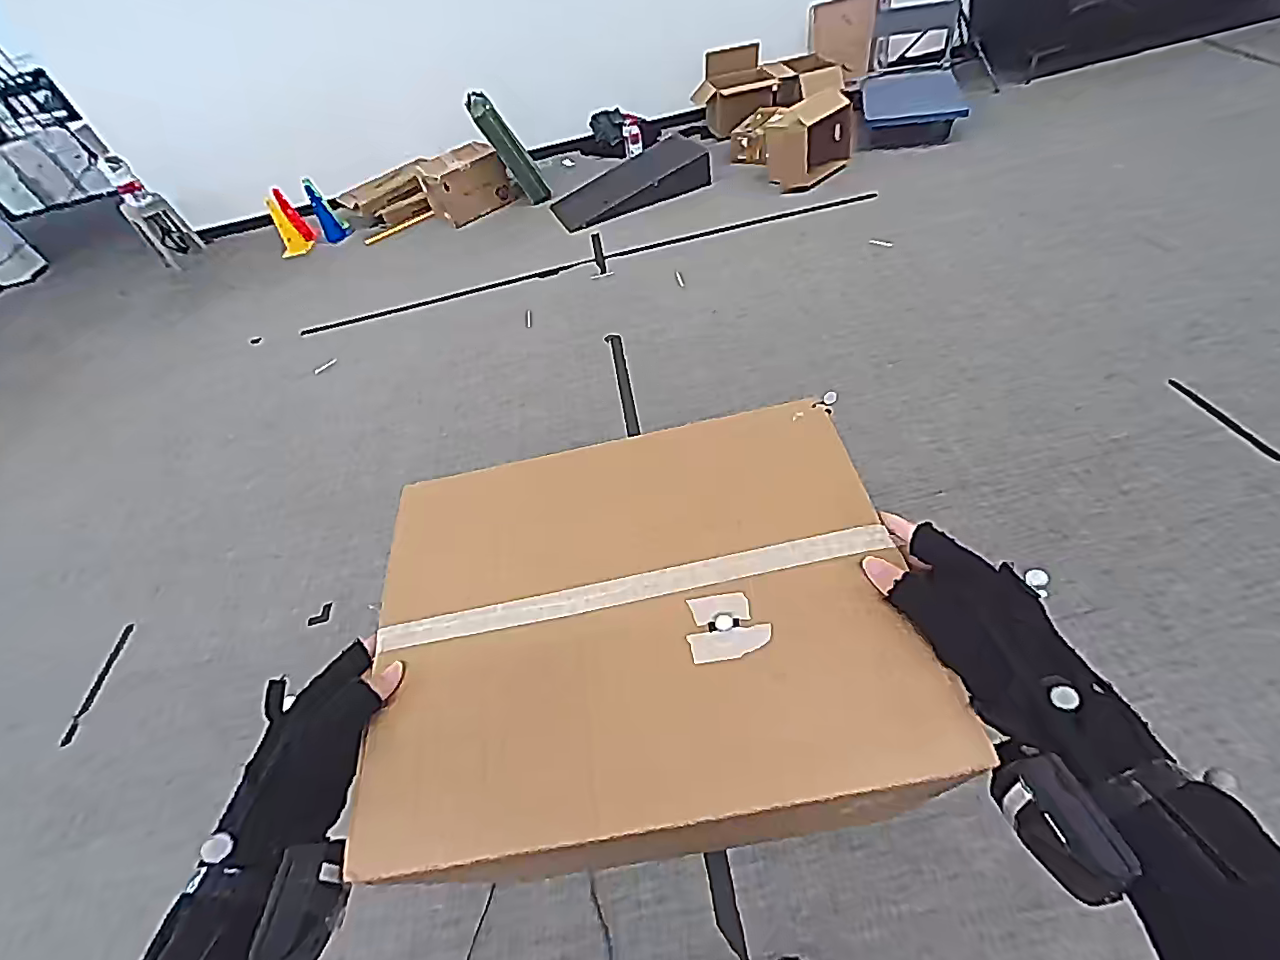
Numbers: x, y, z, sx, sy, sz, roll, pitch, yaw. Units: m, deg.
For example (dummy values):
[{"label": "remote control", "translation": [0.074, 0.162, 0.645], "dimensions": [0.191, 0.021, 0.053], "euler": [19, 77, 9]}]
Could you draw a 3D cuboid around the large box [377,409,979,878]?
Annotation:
[{"label": "large box", "translation": [0.022, 0.179, 0.550], "dimensions": [0.408, 0.320, 0.320], "euler": [-12, 53, 2]}]
